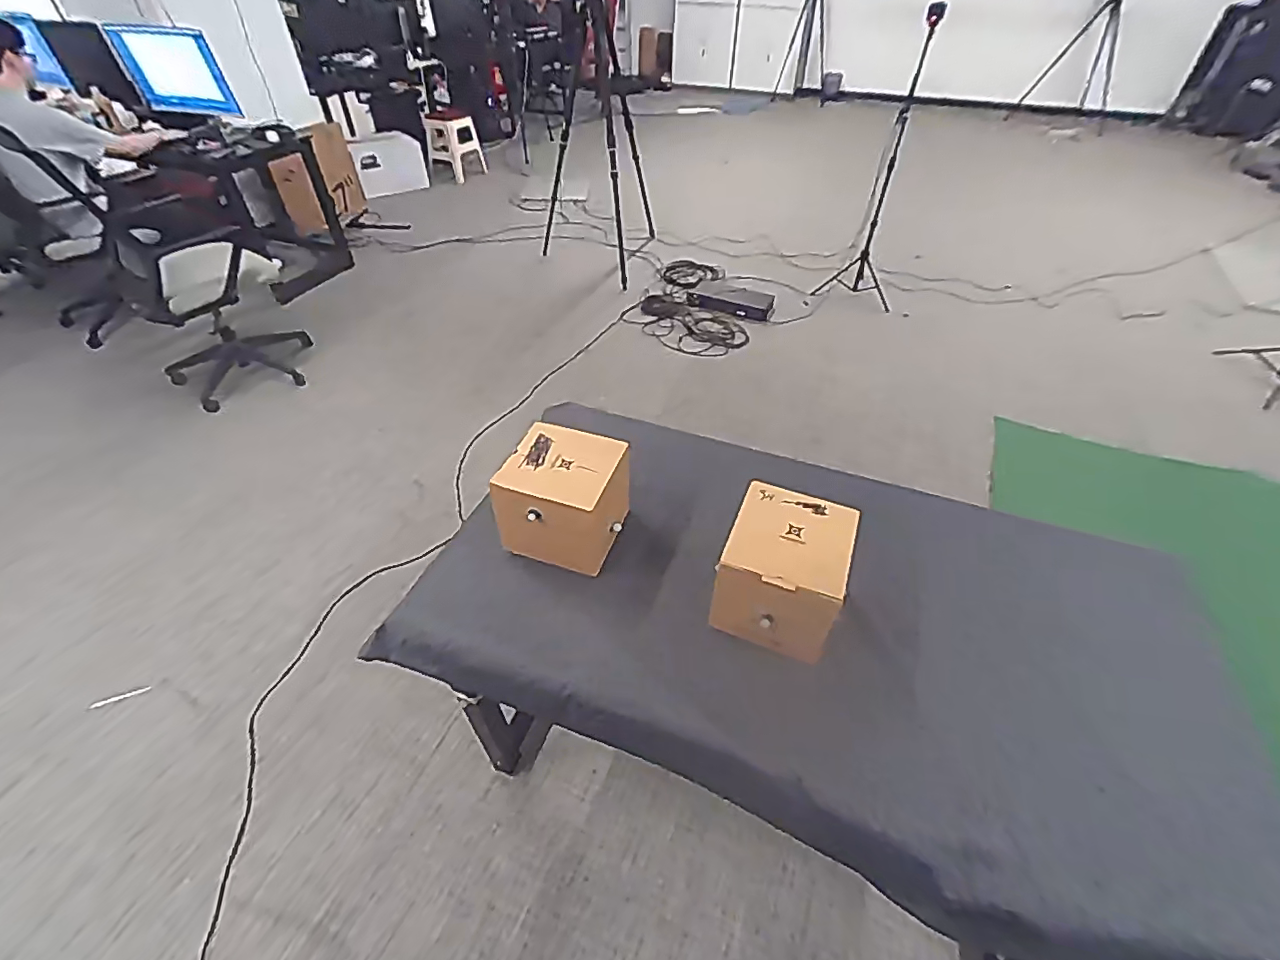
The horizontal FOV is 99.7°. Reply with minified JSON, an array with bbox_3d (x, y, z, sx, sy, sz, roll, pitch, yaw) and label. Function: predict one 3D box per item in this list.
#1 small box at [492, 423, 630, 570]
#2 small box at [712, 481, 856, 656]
[{"bbox_3d":[-0.126,0.030,0.928,0.179,0.176,0.168,15,46,12],"label":"small box"},{"bbox_3d":[0.214,0.137,0.826,0.168,0.176,0.179,17,47,16],"label":"small box"}]
